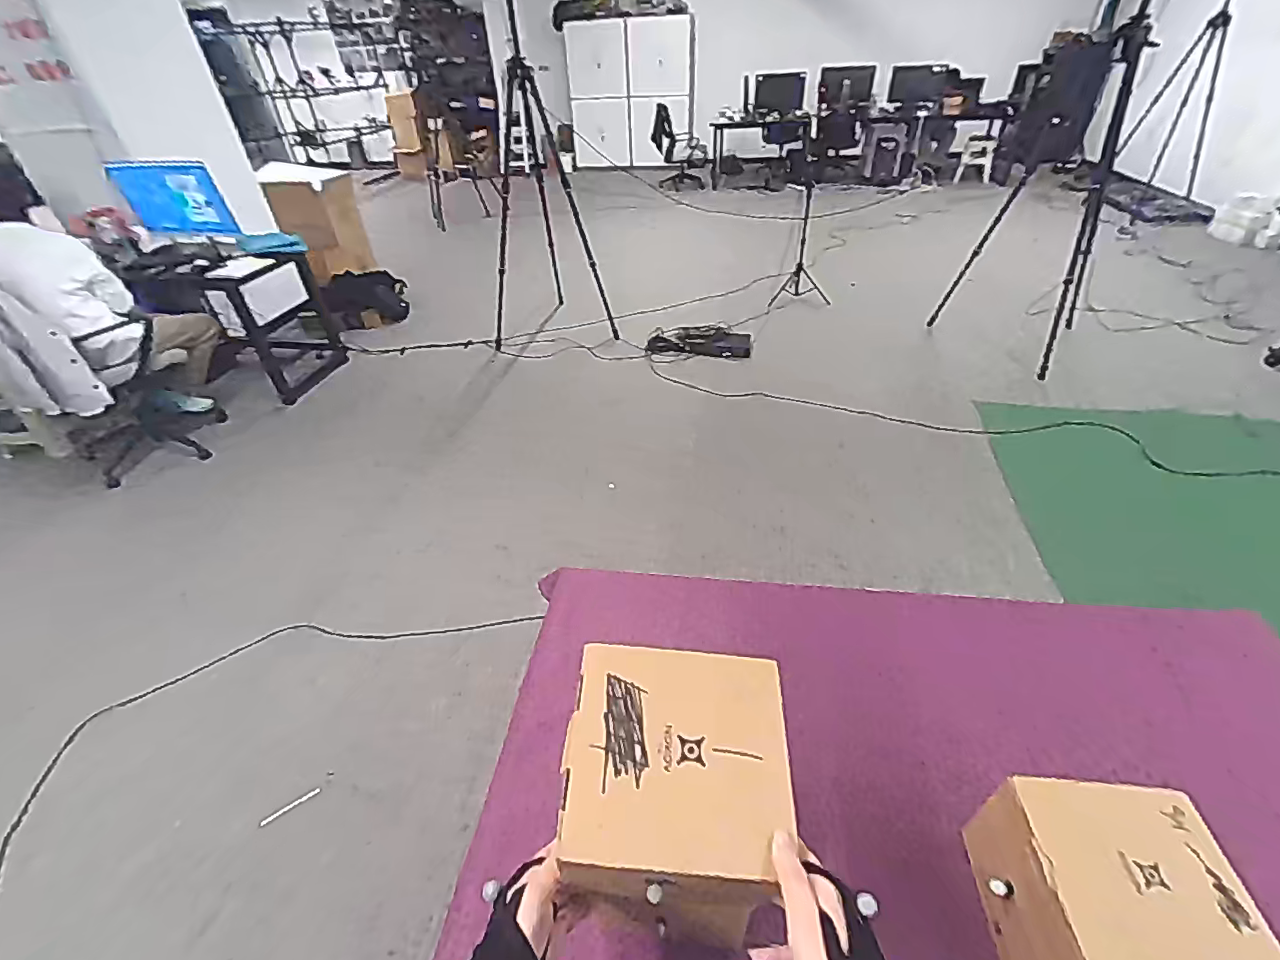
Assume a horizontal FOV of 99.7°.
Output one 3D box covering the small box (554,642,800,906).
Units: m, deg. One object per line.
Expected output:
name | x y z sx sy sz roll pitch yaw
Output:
small box | 0.026 0.266 0.487 0.179 0.176 0.168 6 47 -1

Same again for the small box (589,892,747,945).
small box | 0.040 0.410 0.636 0.168 0.176 0.179 3 38 8

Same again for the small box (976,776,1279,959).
small box | 0.481 0.438 0.563 0.179 0.176 0.168 2 39 8
